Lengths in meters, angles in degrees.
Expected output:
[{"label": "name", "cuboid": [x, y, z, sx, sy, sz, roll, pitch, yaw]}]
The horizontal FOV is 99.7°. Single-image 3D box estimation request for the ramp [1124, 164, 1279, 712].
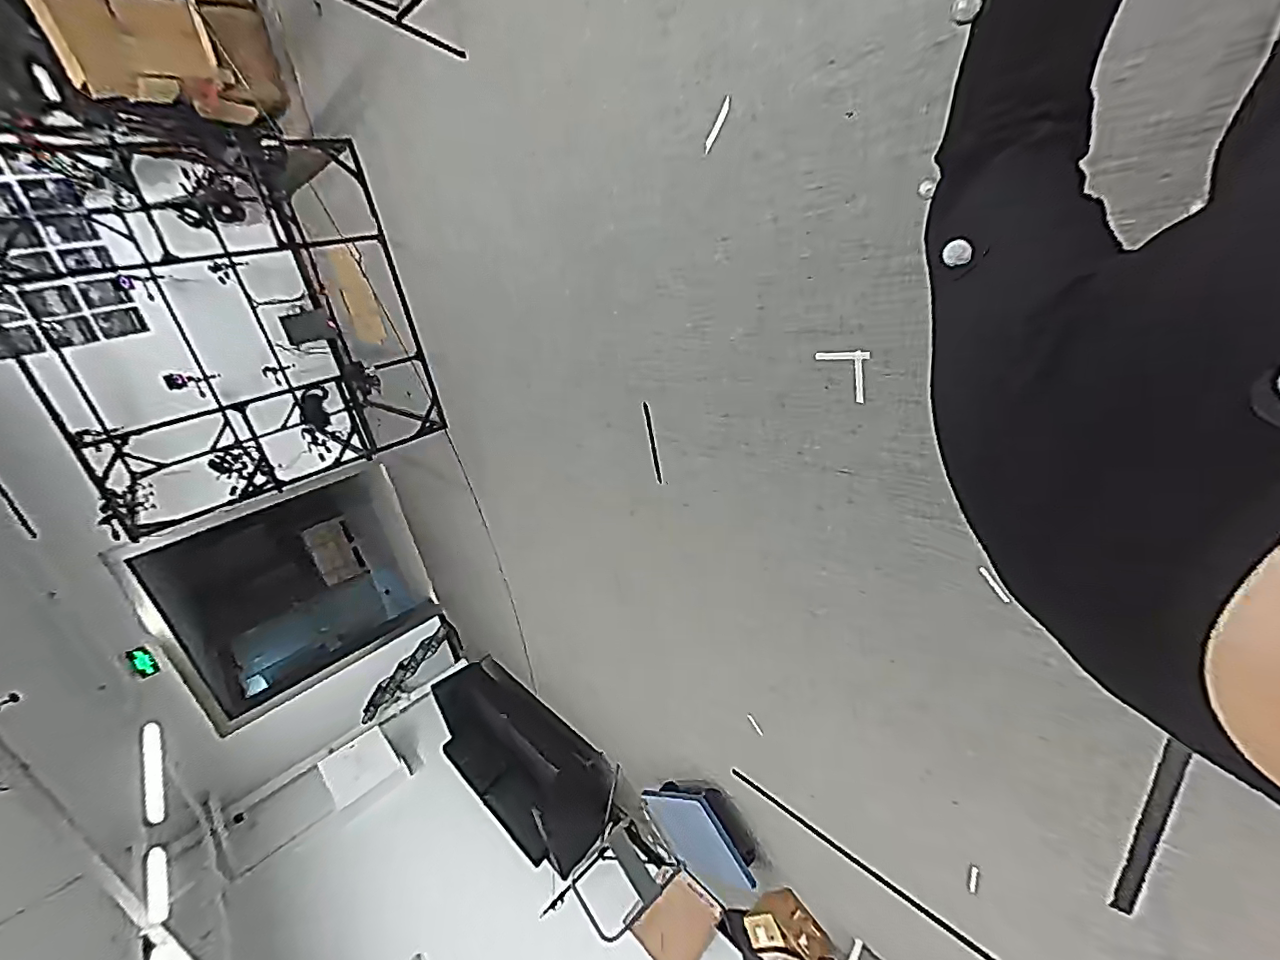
[{"label": "ramp", "cuboid": [1.237, -0.024, 0.914, 0.509, 0.206, 0.991, 15, 124, 48]}]
